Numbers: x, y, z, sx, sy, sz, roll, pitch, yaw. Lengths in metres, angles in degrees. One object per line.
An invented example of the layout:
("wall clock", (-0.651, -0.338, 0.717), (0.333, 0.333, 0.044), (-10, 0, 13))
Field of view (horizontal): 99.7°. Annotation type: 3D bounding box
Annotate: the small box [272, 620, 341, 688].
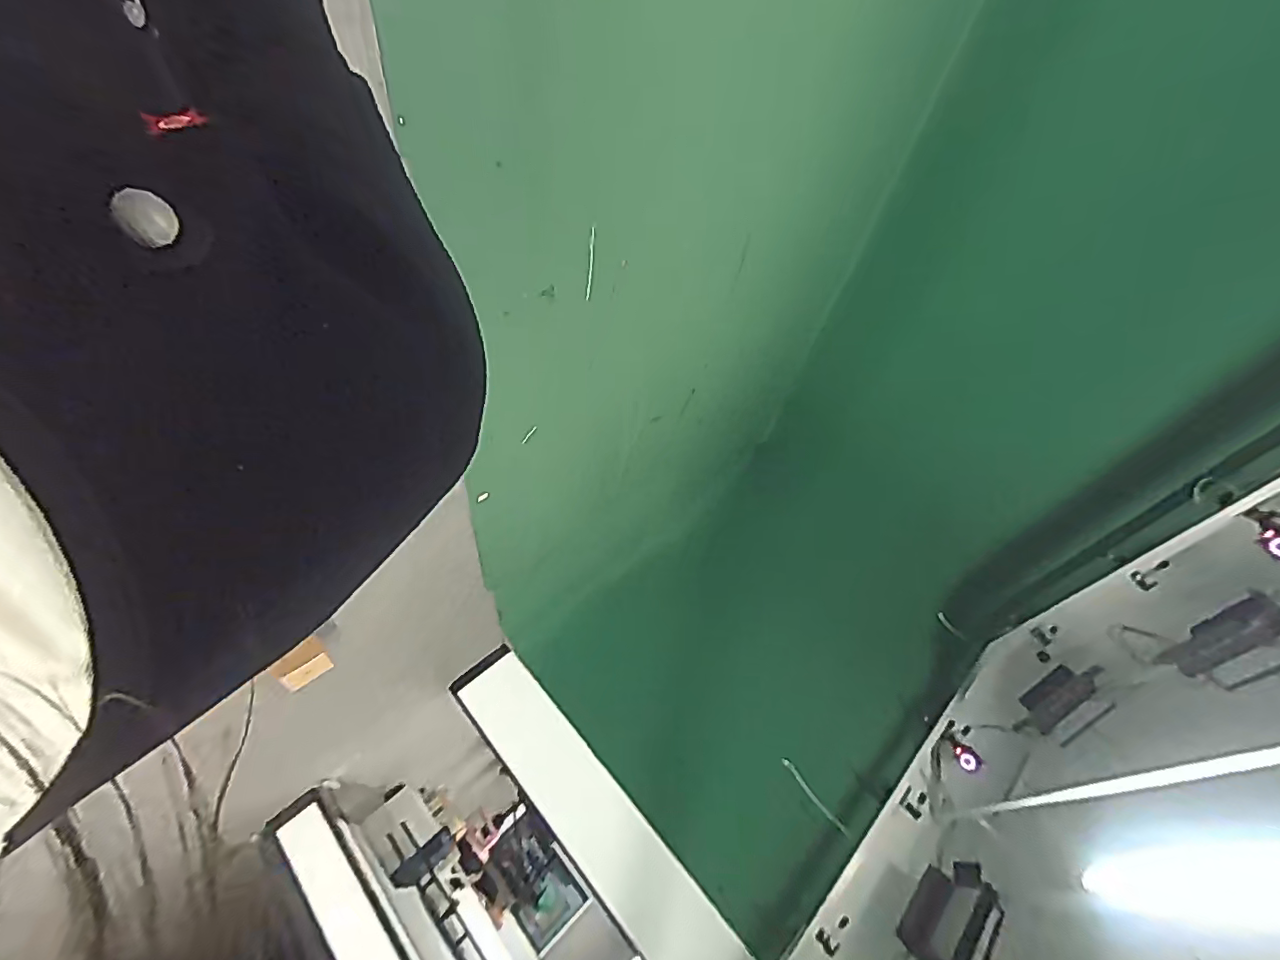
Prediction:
("small box", (-1.397, 0.723, 2.256), (0.179, 0.176, 0.168), (-36, 156, -31))
